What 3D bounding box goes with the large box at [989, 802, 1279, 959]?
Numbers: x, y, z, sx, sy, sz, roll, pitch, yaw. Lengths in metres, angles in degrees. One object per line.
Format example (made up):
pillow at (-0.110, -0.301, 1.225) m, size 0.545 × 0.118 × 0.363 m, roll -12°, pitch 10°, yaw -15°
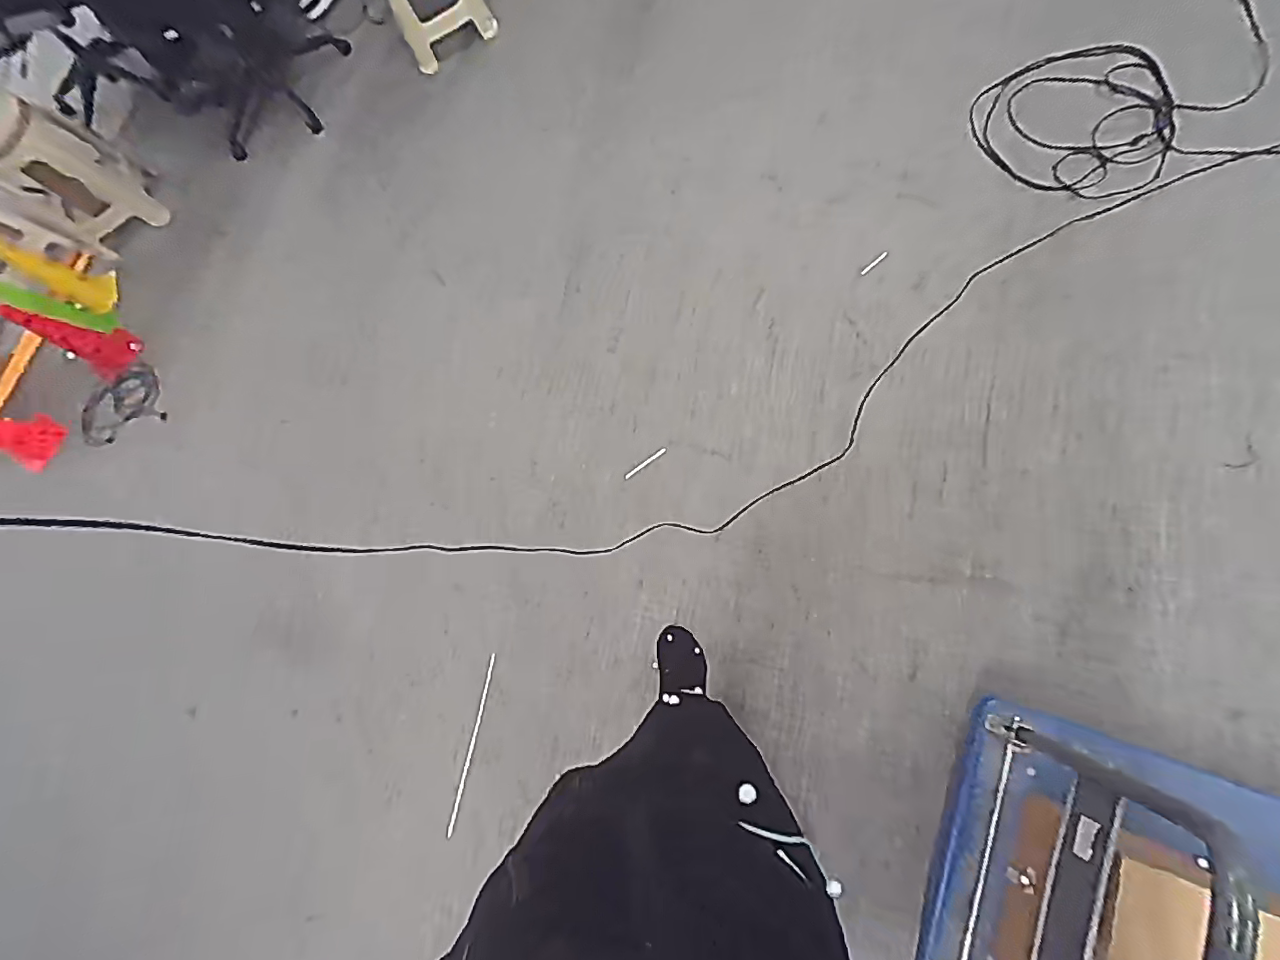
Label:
large box at (0.844, 0.781, 0.846) m, size 0.408 × 0.320 × 0.320 m, roll 16°, pitch 80°, yaw 16°
